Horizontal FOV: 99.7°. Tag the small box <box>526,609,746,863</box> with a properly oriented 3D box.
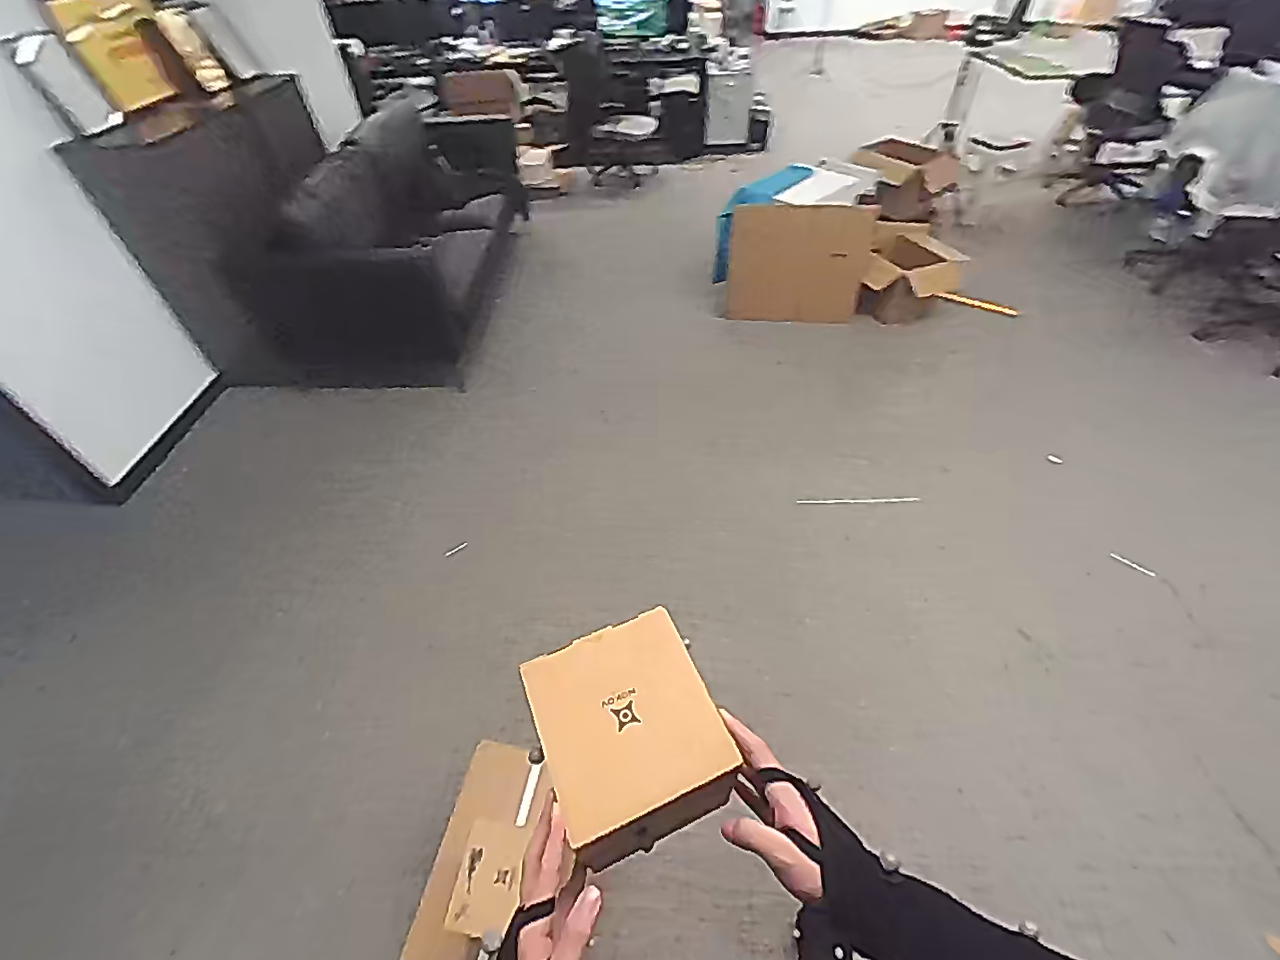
[{"bbox_3d":[-0.005,0.275,0.573,0.168,0.176,0.179,-19,49,-13],"label":"small box"}]

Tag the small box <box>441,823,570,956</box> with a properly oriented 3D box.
[{"bbox_3d":[-0.234,0.757,0.997,0.179,0.176,0.168,5,46,5],"label":"small box"}]
